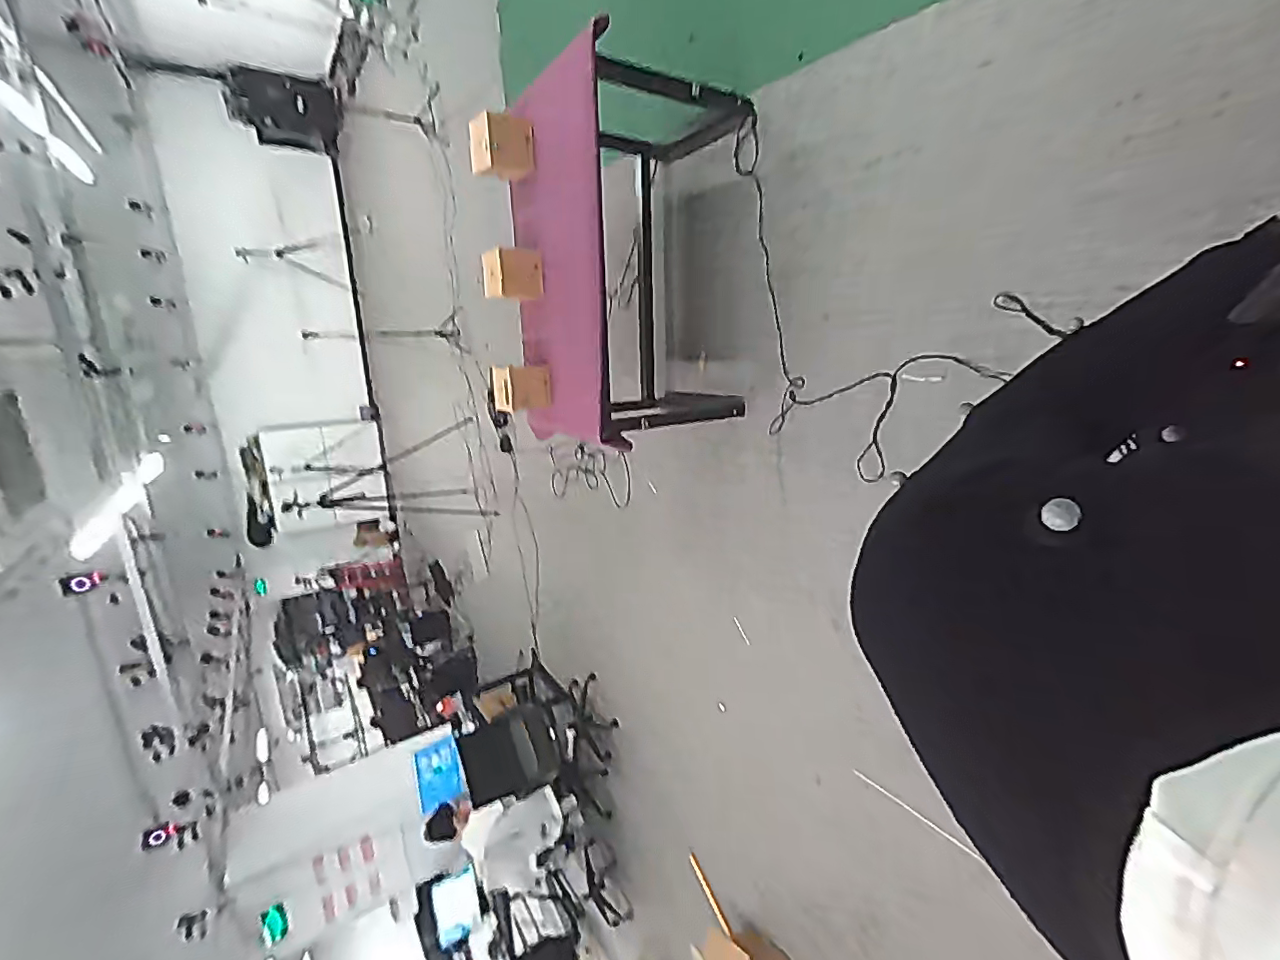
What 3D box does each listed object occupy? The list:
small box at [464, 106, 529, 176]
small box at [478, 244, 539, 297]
[{"bbox_3d":[-0.510,-1.198,1.923,0.179,0.176,0.168,22,119,50],"label":"small box"},{"bbox_3d":[-0.496,-0.783,2.036,0.179,0.176,0.168,17,113,52],"label":"small box"}]
